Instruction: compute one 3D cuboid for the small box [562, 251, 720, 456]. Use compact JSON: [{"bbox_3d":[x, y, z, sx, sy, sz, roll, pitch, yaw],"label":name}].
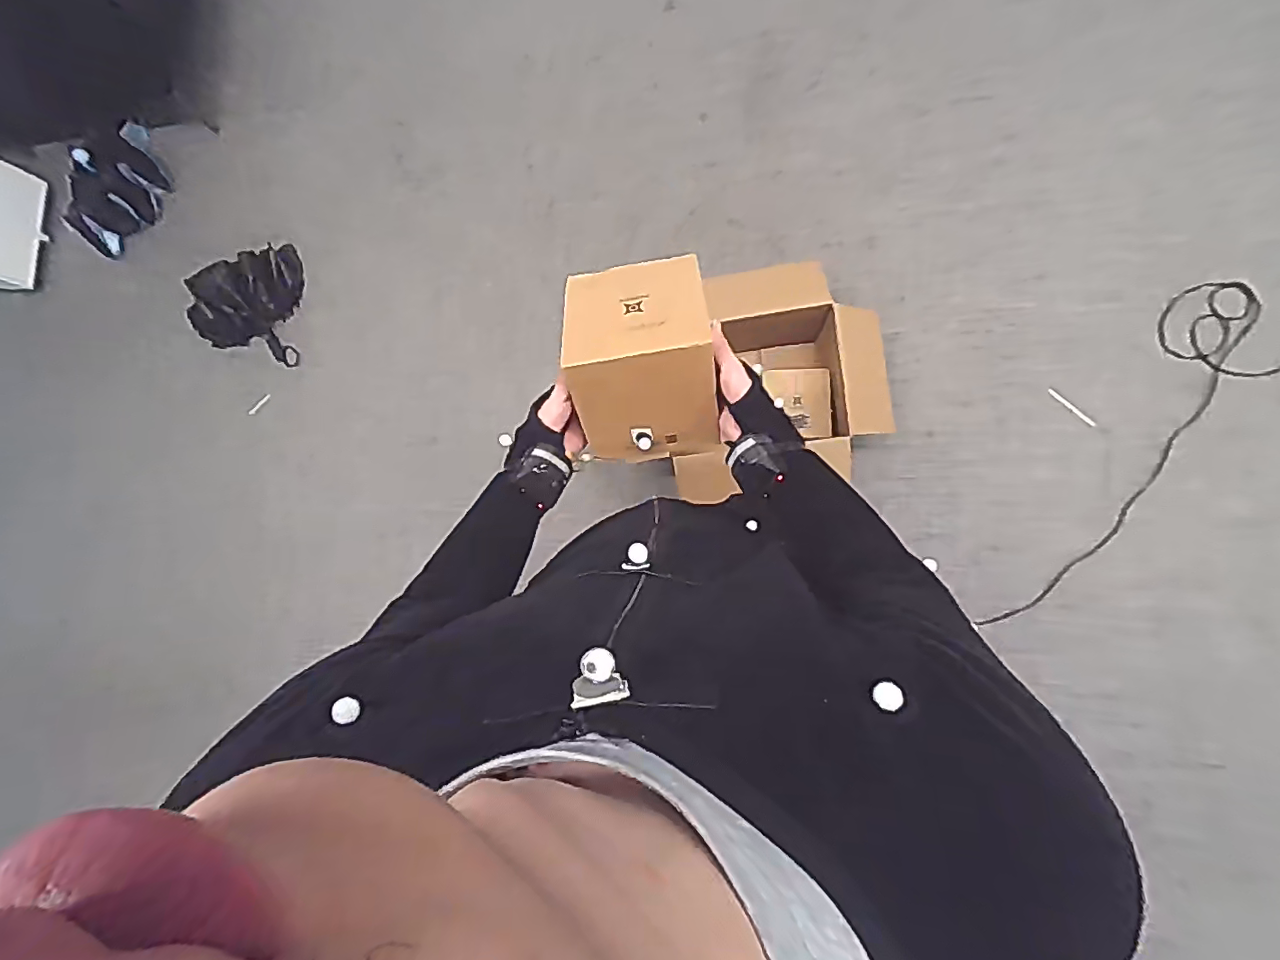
[{"bbox_3d":[0.006,-0.155,0.681,0.168,0.176,0.179,-8,53,6],"label":"small box"}]
